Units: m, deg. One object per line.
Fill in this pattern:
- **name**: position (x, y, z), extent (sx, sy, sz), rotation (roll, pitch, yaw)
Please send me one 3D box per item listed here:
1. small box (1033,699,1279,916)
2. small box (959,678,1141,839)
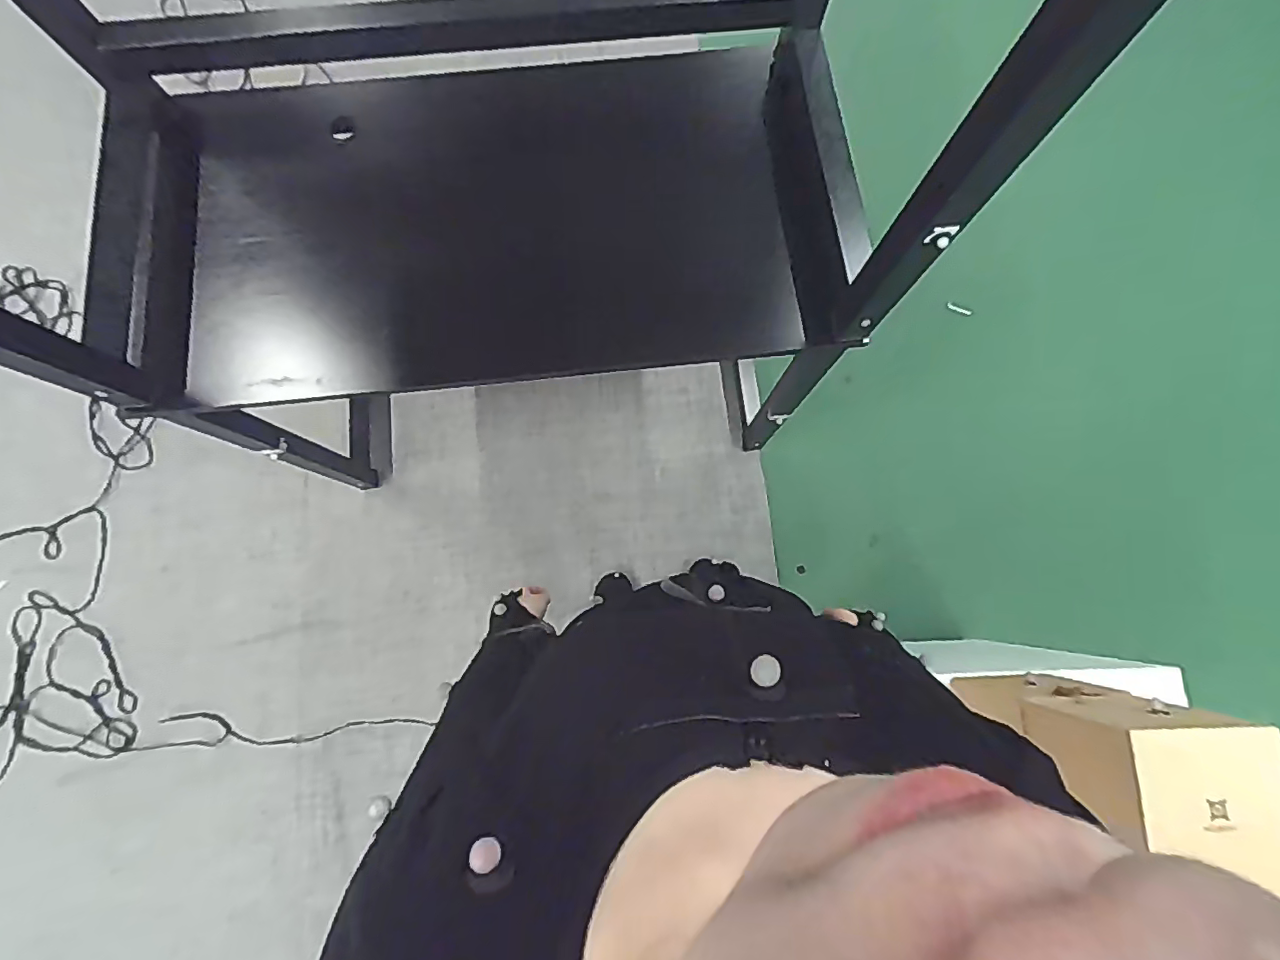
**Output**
- **small box**: position (0.603, 0.362, 0.633), extent (0.168, 0.176, 0.179), rotation (-1, 80, -1)
- **small box**: position (0.601, 0.392, 0.794), extent (0.168, 0.176, 0.179), rotation (-3, 79, 0)
